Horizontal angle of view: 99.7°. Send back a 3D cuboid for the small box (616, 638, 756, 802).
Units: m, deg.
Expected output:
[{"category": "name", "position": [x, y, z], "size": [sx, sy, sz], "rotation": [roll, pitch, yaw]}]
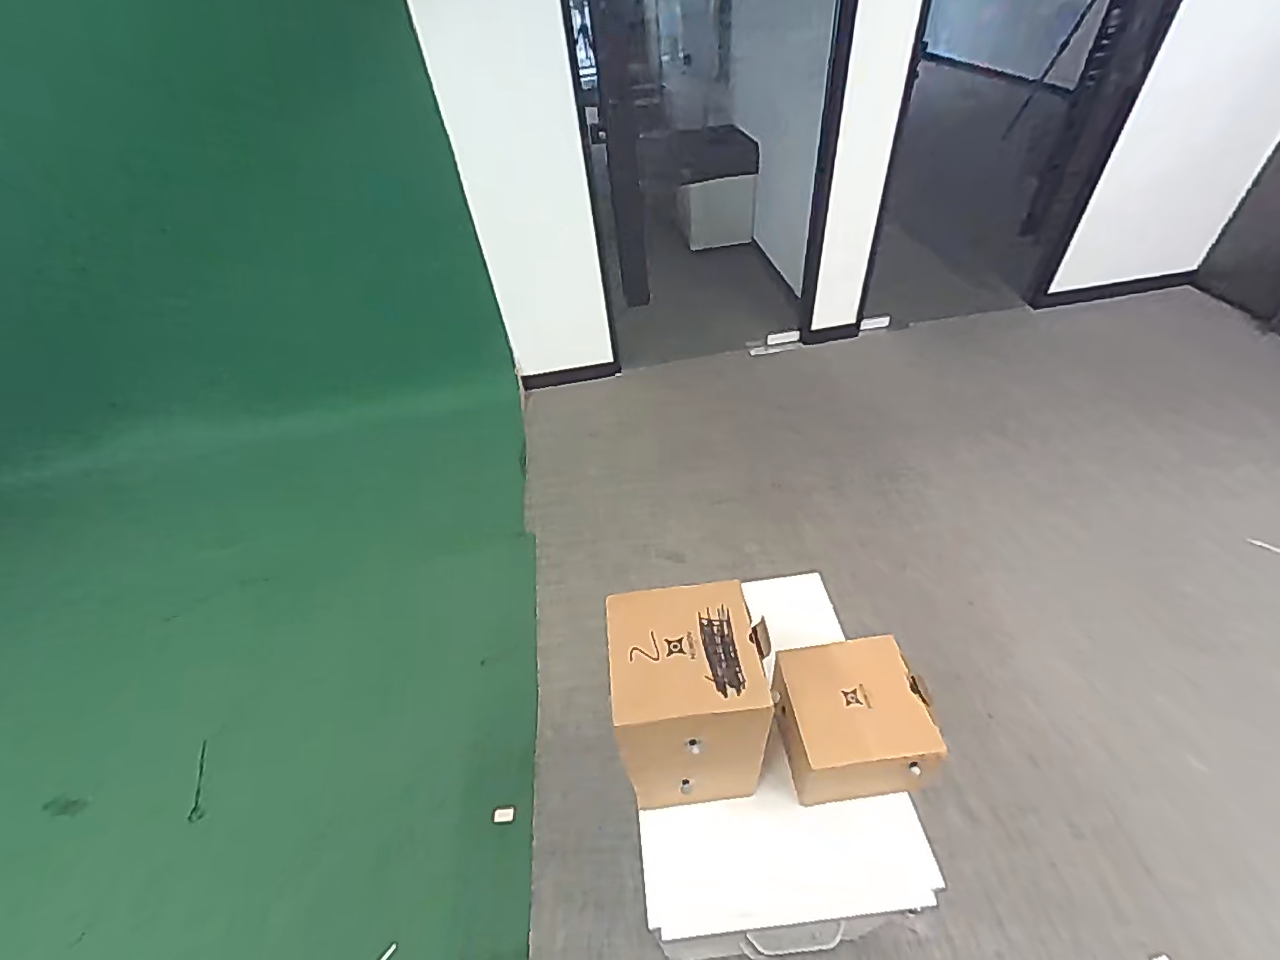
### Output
[{"category": "small box", "position": [0.065, 0.361, 0.806], "size": [0.179, 0.176, 0.168], "rotation": [-8, 46, -1]}]
